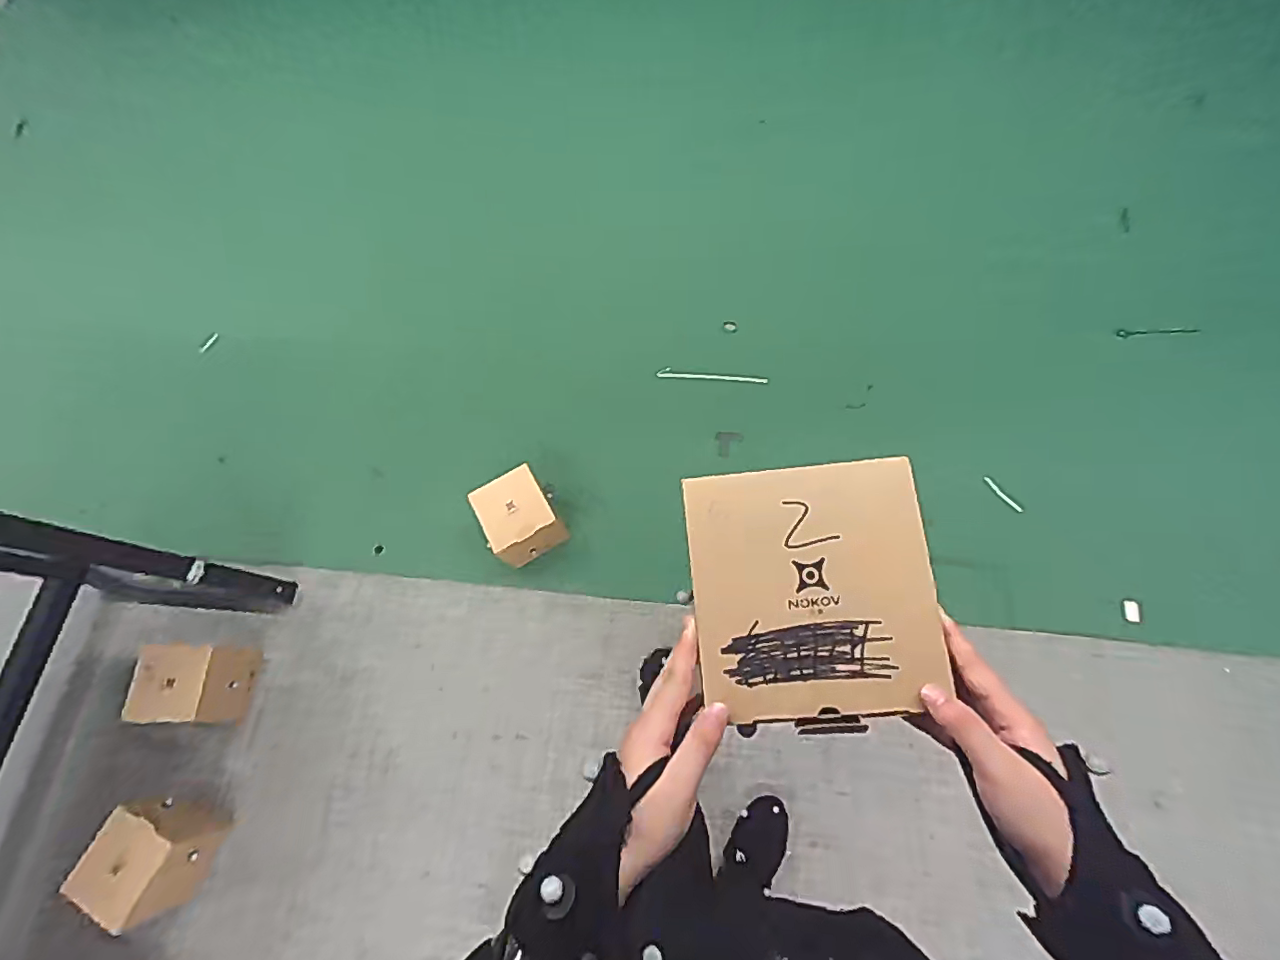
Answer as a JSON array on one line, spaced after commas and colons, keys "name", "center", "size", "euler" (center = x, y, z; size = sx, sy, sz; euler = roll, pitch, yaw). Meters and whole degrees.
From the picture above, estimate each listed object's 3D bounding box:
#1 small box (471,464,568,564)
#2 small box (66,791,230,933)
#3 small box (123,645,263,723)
[{"name": "small box", "center": [-0.302, 0.094, 1.382], "size": [0.168, 0.176, 0.179], "euler": [-30, 71, -7]}, {"name": "small box", "center": [-1.049, 0.813, 1.175], "size": [0.168, 0.176, 0.179], "euler": [23, 75, 12]}, {"name": "small box", "center": [-1.052, 0.483, 1.293], "size": [0.179, 0.176, 0.168], "euler": [-1, 69, 4]}]
